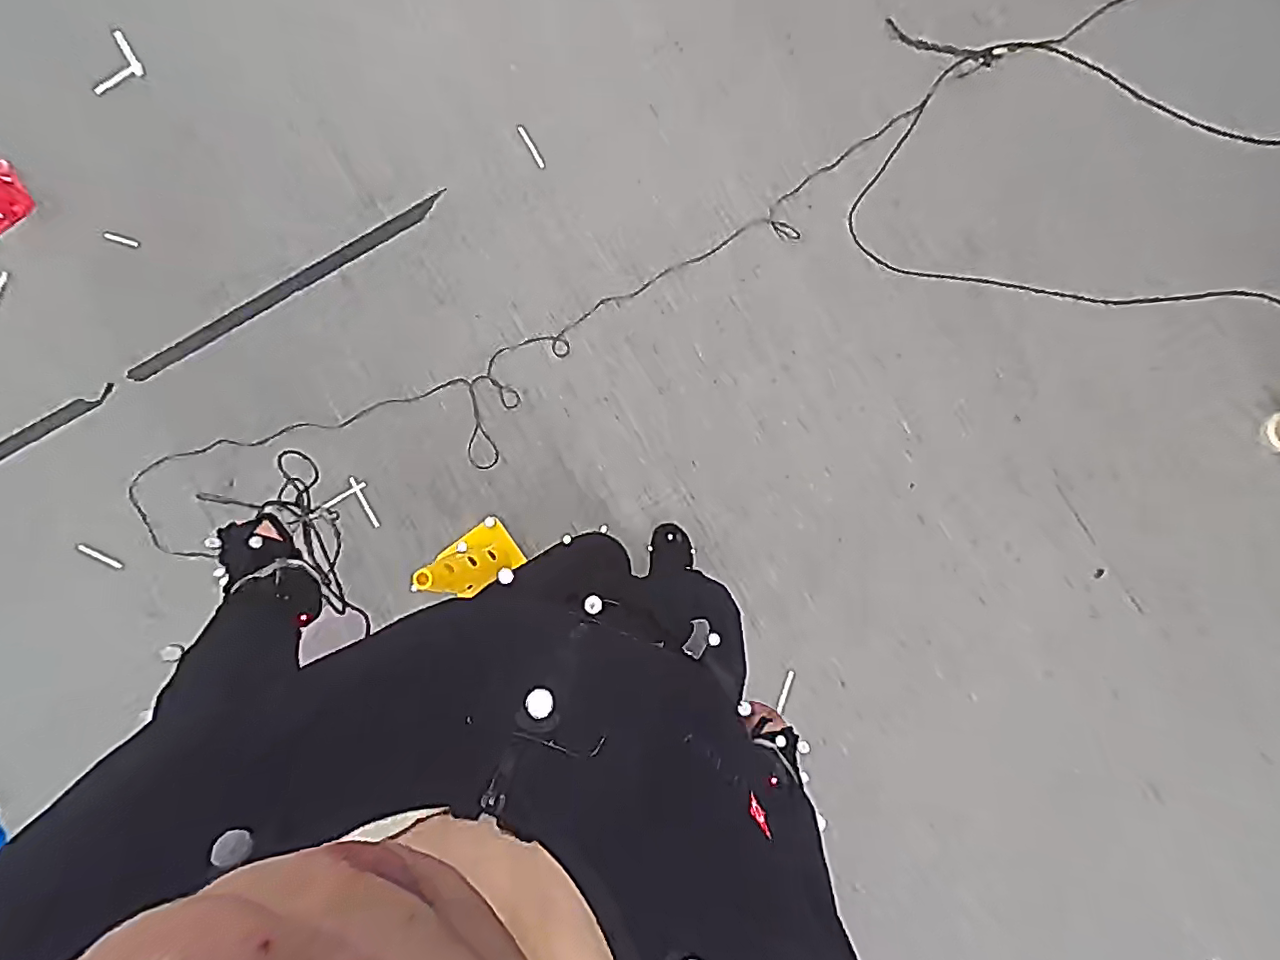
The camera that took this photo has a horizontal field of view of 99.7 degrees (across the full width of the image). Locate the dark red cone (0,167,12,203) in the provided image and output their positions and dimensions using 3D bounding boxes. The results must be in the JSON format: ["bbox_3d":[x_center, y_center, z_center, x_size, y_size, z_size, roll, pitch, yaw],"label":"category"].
[{"bbox_3d":[-1.908,-0.844,1.370,0.202,0.394,0.201,-37,85,0],"label":"dark red cone"}]
